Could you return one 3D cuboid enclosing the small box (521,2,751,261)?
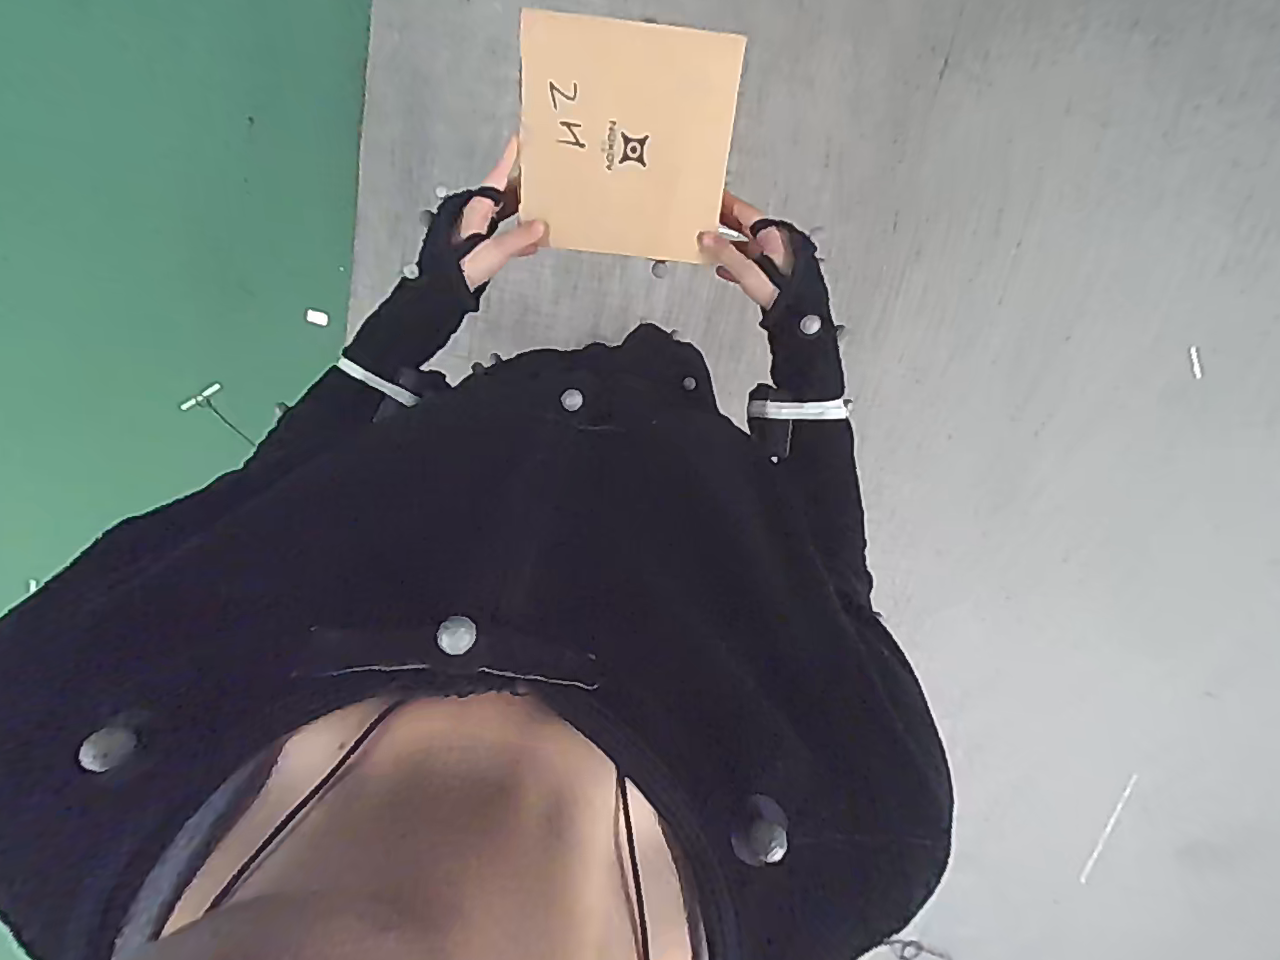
[{"bbox_3d":[-0.007,-0.311,0.515,0.179,0.176,0.168,6,114,-1],"label":"small box"}]
